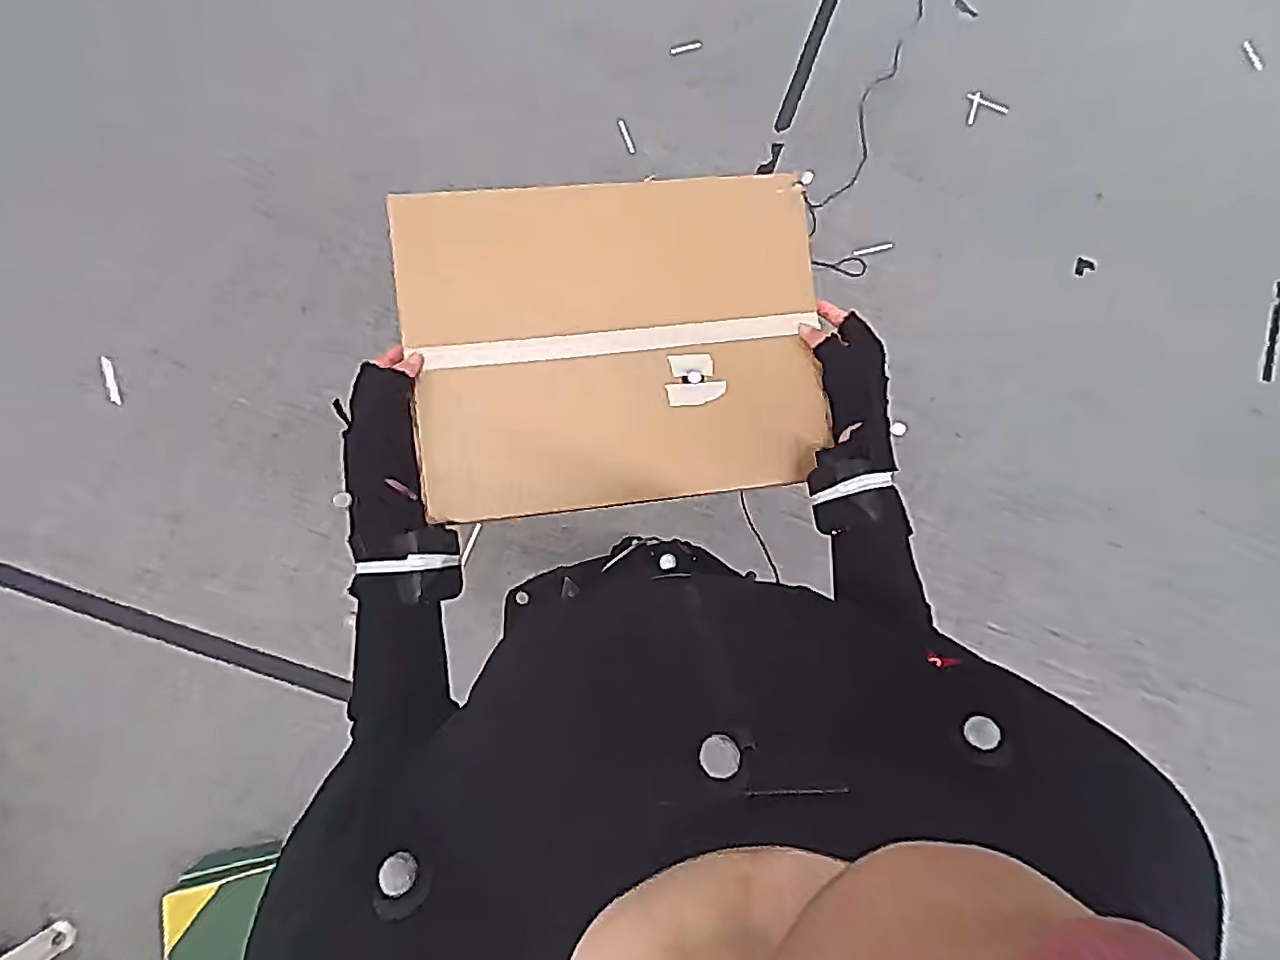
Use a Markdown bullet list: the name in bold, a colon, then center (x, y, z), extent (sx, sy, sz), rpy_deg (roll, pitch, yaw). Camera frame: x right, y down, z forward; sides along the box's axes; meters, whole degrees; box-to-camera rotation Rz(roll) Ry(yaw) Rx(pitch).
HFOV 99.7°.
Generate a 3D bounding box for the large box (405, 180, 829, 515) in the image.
- **large box**: center (-0.034, -0.137, 0.687), extent (0.408, 0.320, 0.320), rpy_deg (-6, 90, -8)
